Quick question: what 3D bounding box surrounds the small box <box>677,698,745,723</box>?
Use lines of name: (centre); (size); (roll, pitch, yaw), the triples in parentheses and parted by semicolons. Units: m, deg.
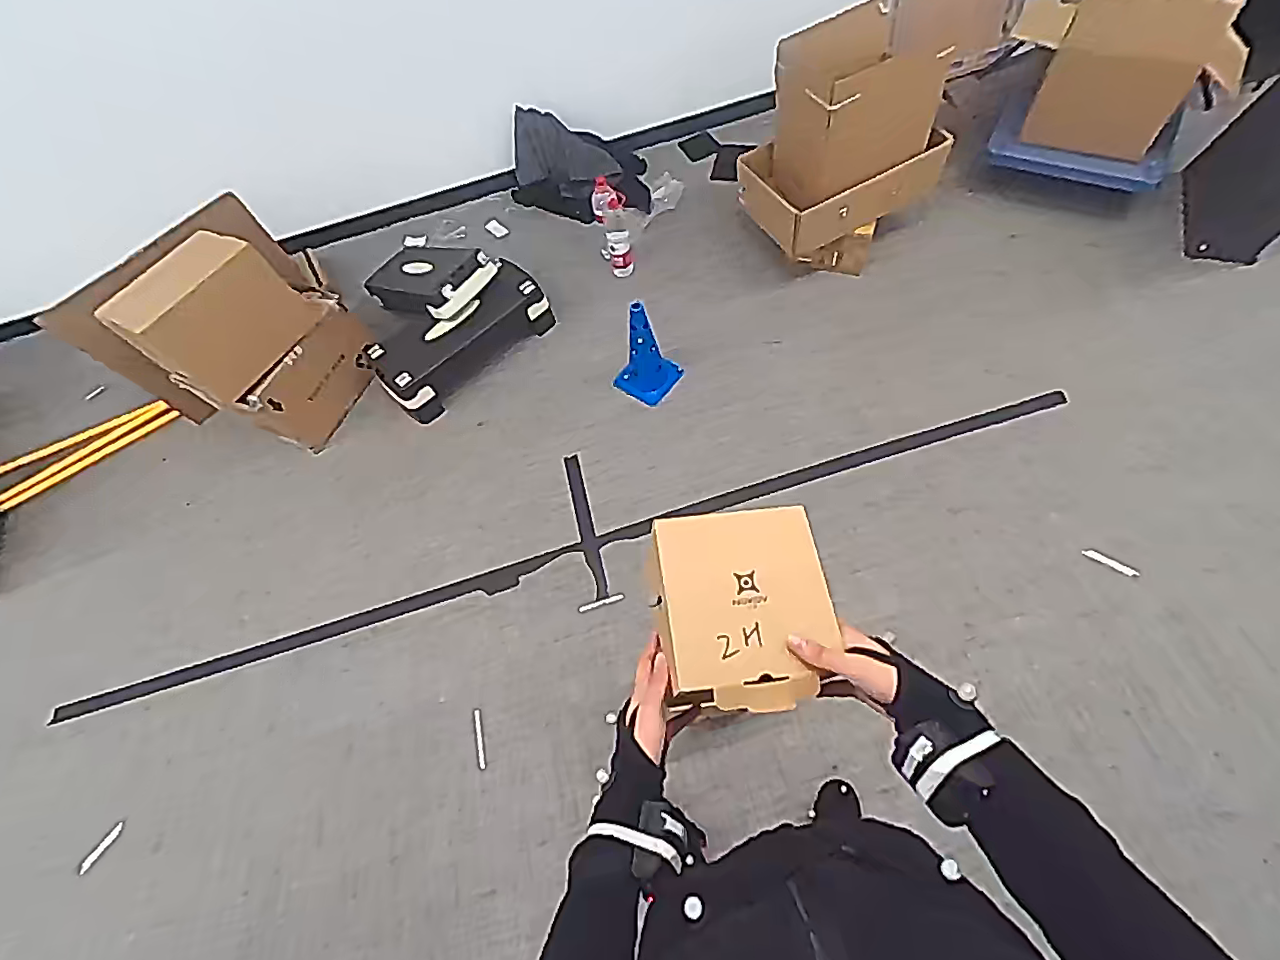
small box: (0.171, 0.527, 1.411); (0.168, 0.176, 0.179); (-13, 62, 1)

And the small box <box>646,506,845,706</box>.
small box: (0.100, 0.147, 0.611); (0.168, 0.176, 0.179); (-5, 63, -5)
